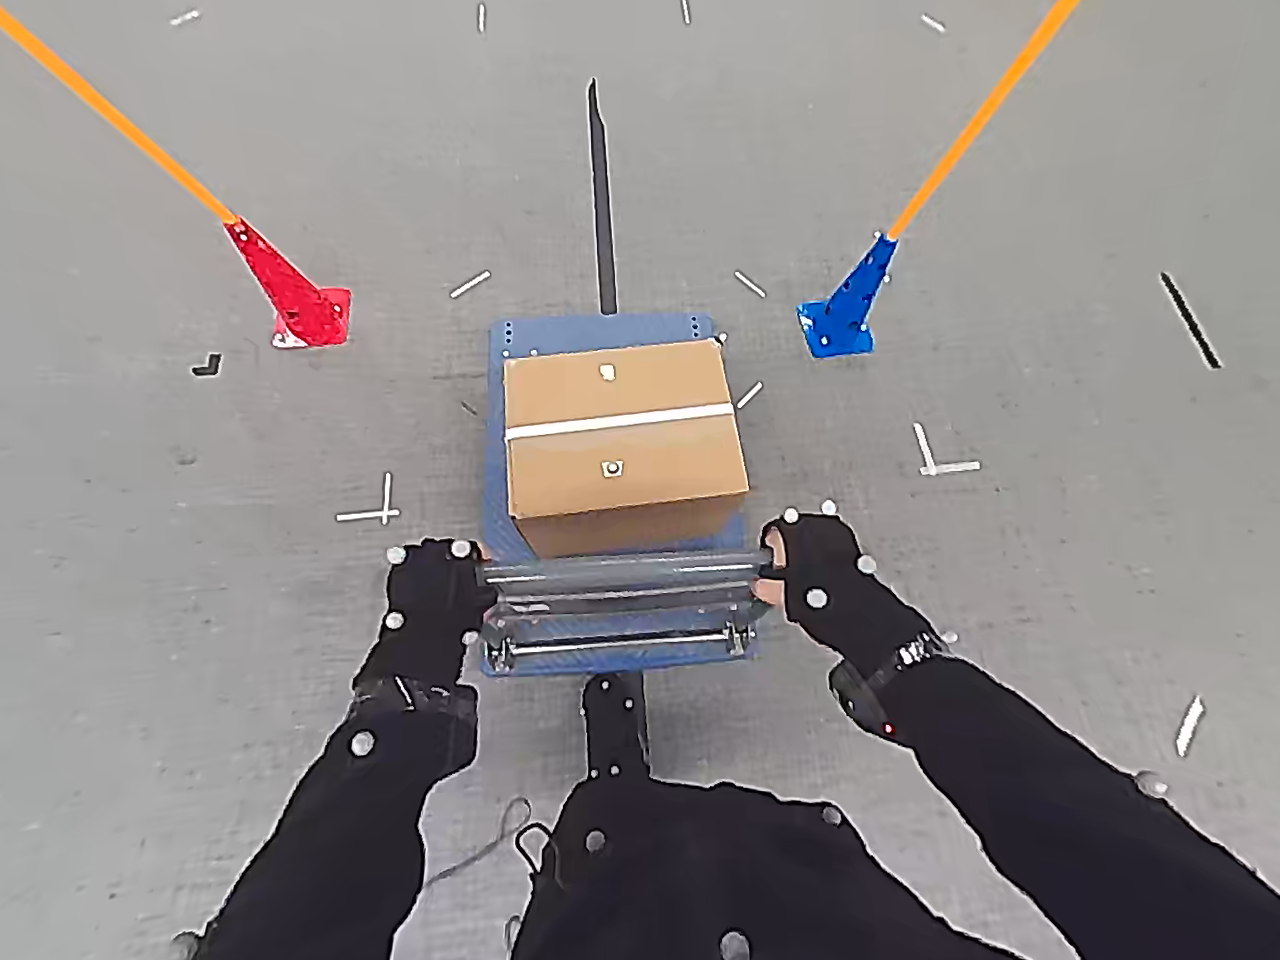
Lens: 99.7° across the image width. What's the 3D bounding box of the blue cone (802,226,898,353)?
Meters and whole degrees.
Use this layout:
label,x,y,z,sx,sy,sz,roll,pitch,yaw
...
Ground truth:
label,x,y,z,sx,sy,sz,roll,pitch,yaw
blue cone,0.606,-0.528,1.483,0.193,0.380,0.192,-7,69,-6
